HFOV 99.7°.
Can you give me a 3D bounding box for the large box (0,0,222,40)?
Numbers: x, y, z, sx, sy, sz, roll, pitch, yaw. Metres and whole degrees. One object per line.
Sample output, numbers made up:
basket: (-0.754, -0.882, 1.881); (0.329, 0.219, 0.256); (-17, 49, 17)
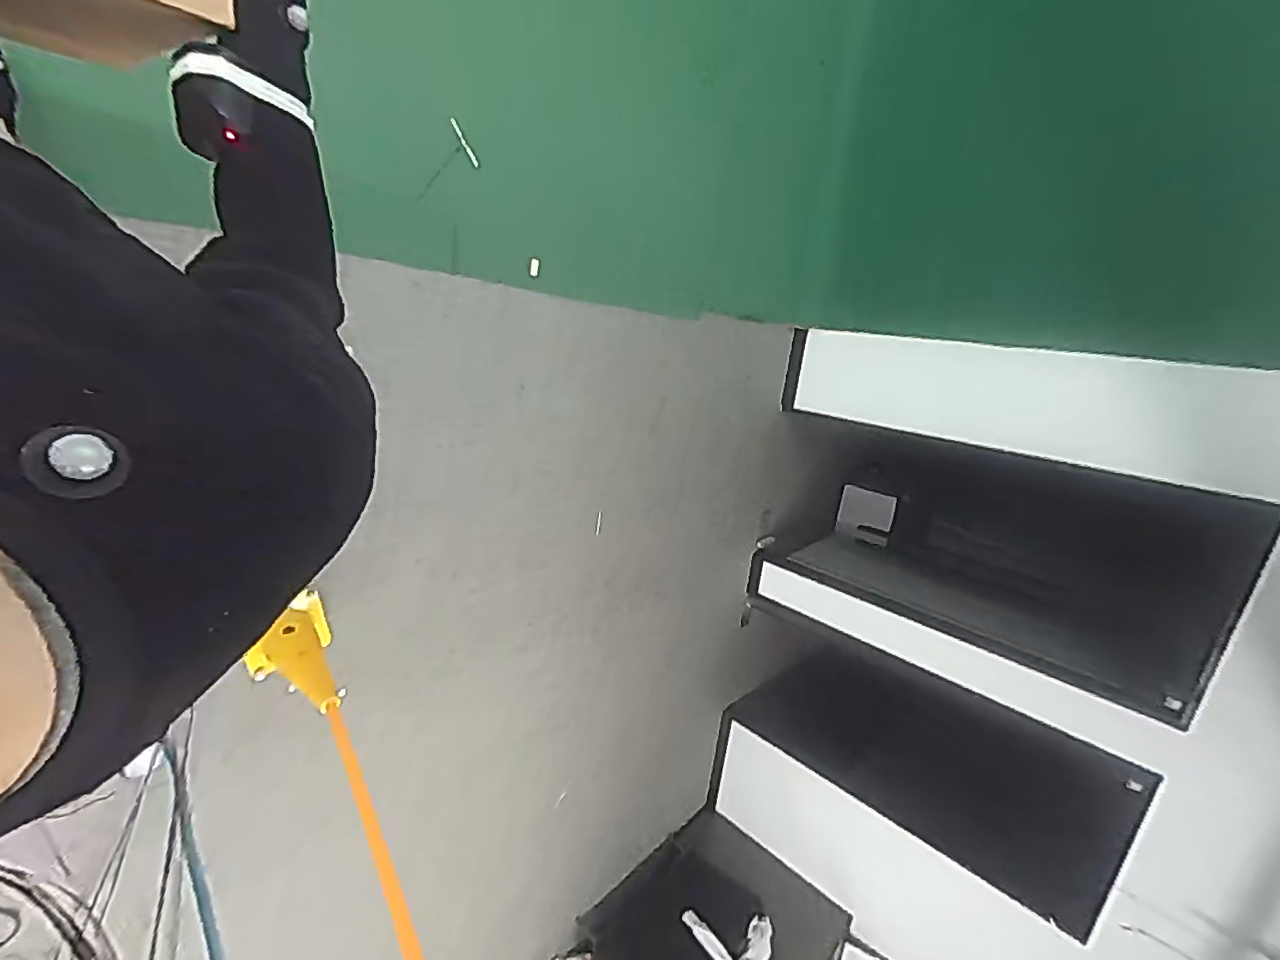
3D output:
large box: (-0.523, -0.487, 0.270); (0.408, 0.320, 0.320); (-21, 125, -50)
